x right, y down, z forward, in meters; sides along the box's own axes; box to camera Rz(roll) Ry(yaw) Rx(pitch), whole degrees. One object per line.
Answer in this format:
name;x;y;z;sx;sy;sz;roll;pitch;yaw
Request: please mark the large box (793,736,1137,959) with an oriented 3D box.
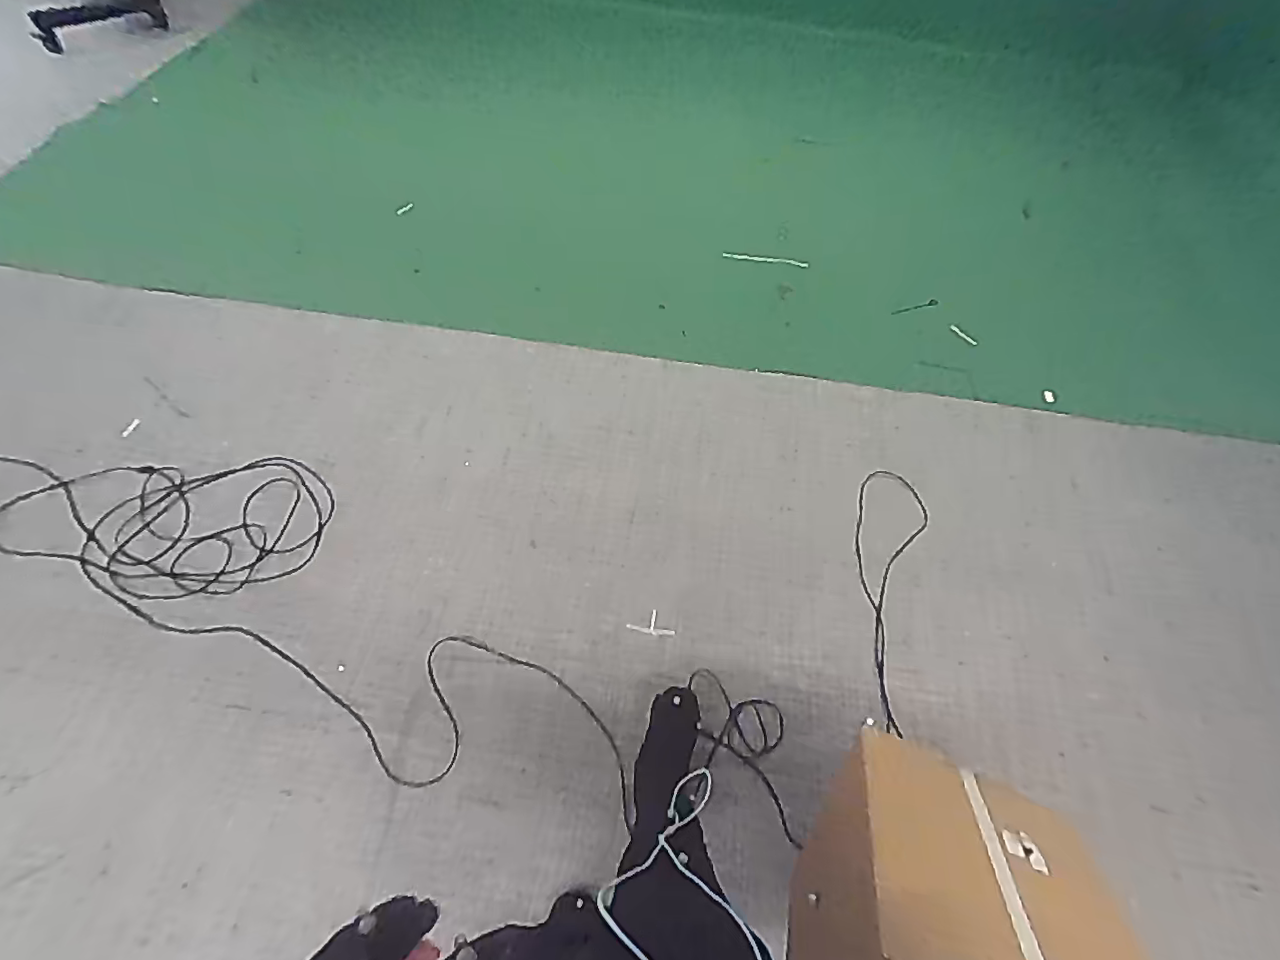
large box;0.392;0.636;0.697;0.320;0.408;0.320;22;103;16
